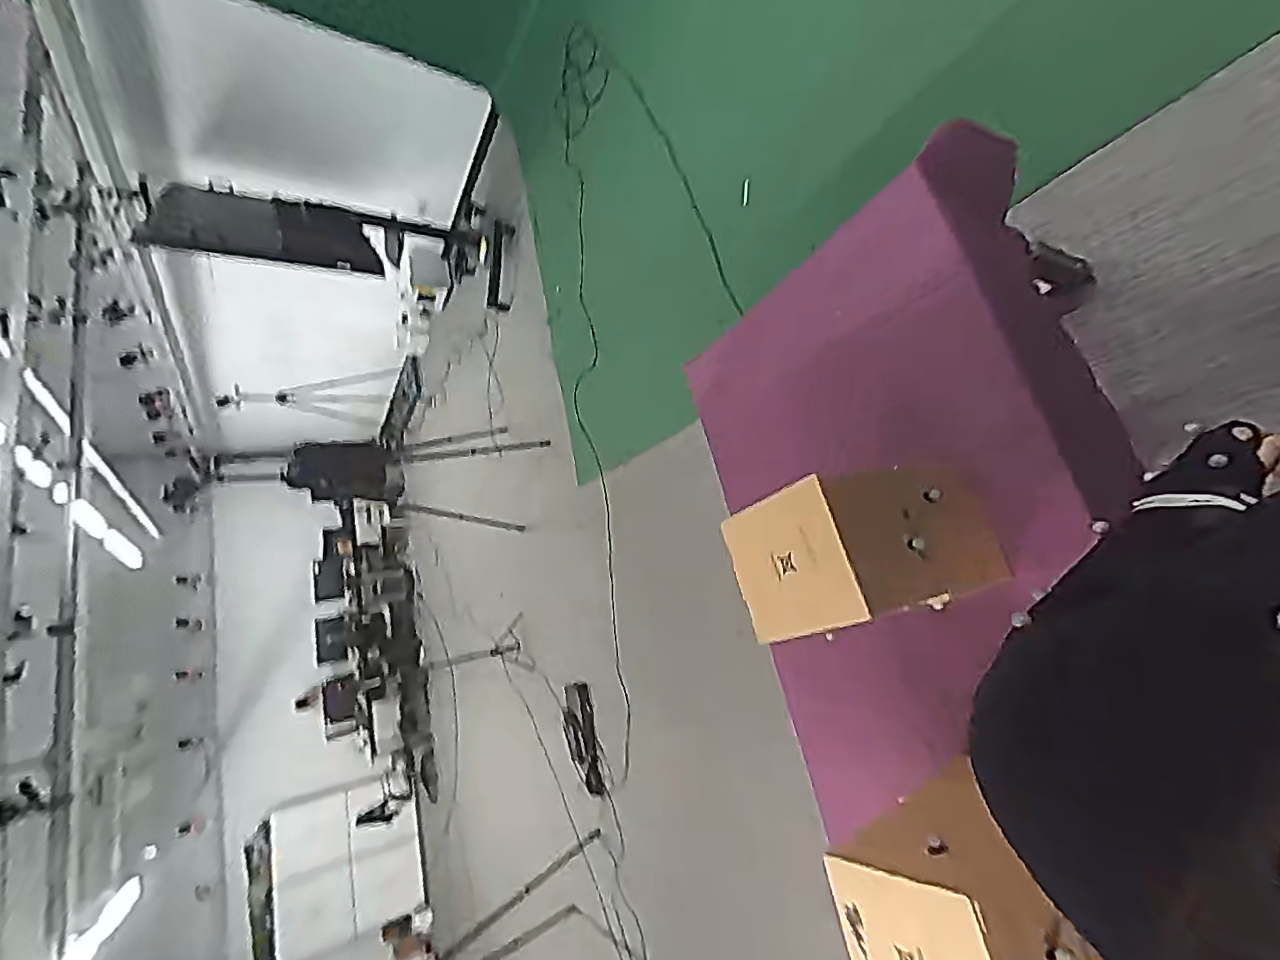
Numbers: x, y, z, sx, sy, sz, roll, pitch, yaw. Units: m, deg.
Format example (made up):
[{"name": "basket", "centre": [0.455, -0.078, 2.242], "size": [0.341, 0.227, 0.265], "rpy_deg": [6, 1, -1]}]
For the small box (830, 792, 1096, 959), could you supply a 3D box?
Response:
[{"name": "small box", "centre": [0.347, 0.460, 0.583], "size": [0.179, 0.176, 0.168], "rpy_deg": [-32, 66, 52]}]

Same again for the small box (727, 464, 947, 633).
[{"name": "small box", "centre": [0.247, 0.088, 0.696], "size": [0.179, 0.176, 0.168], "rpy_deg": [-37, 64, 51]}]
